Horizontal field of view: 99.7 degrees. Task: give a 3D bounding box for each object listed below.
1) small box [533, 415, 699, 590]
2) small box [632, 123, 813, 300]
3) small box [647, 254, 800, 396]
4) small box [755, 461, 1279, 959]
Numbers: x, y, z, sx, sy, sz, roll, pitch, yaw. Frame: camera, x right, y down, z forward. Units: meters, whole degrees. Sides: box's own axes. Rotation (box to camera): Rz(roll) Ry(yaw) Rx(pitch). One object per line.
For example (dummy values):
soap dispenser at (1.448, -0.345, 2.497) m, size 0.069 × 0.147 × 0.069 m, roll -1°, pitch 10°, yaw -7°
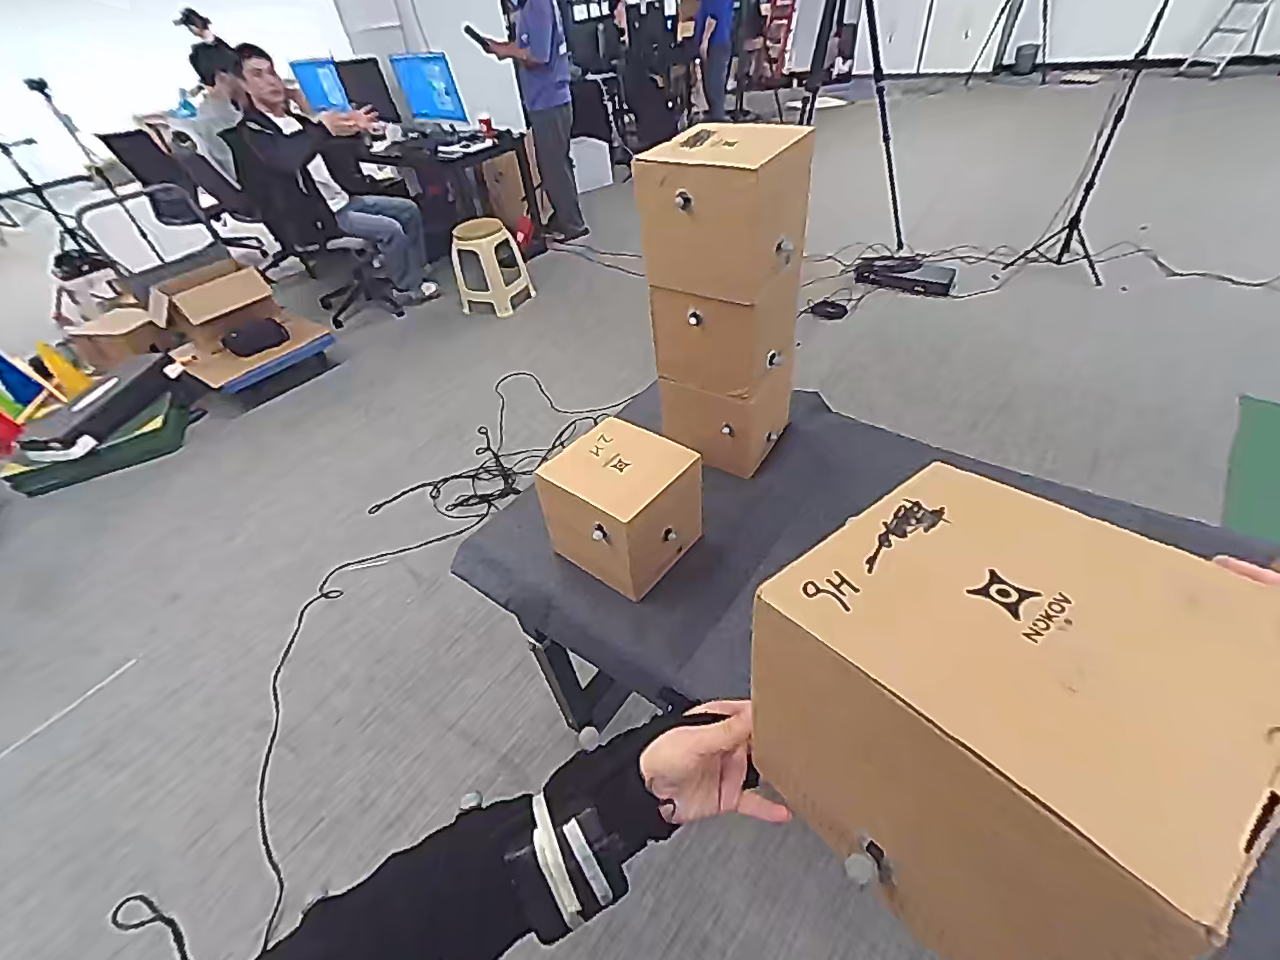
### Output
small box at (-0.027, 0.037, 0.804) m, size 0.179 × 0.176 × 0.168 m, roll 26°, pitch 50°, yaw 31°
small box at (0.112, -0.366, 0.736) m, size 0.179 × 0.176 × 0.168 m, roll 23°, pitch 54°, yaw 28°
small box at (0.133, -0.256, 0.857) m, size 0.179 × 0.176 × 0.168 m, roll 22°, pitch 53°, yaw 26°
small box at (0.181, 0.123, 0.291) m, size 0.168 × 0.176 × 0.179 m, roll -28°, pitch 41°, yaw -26°
